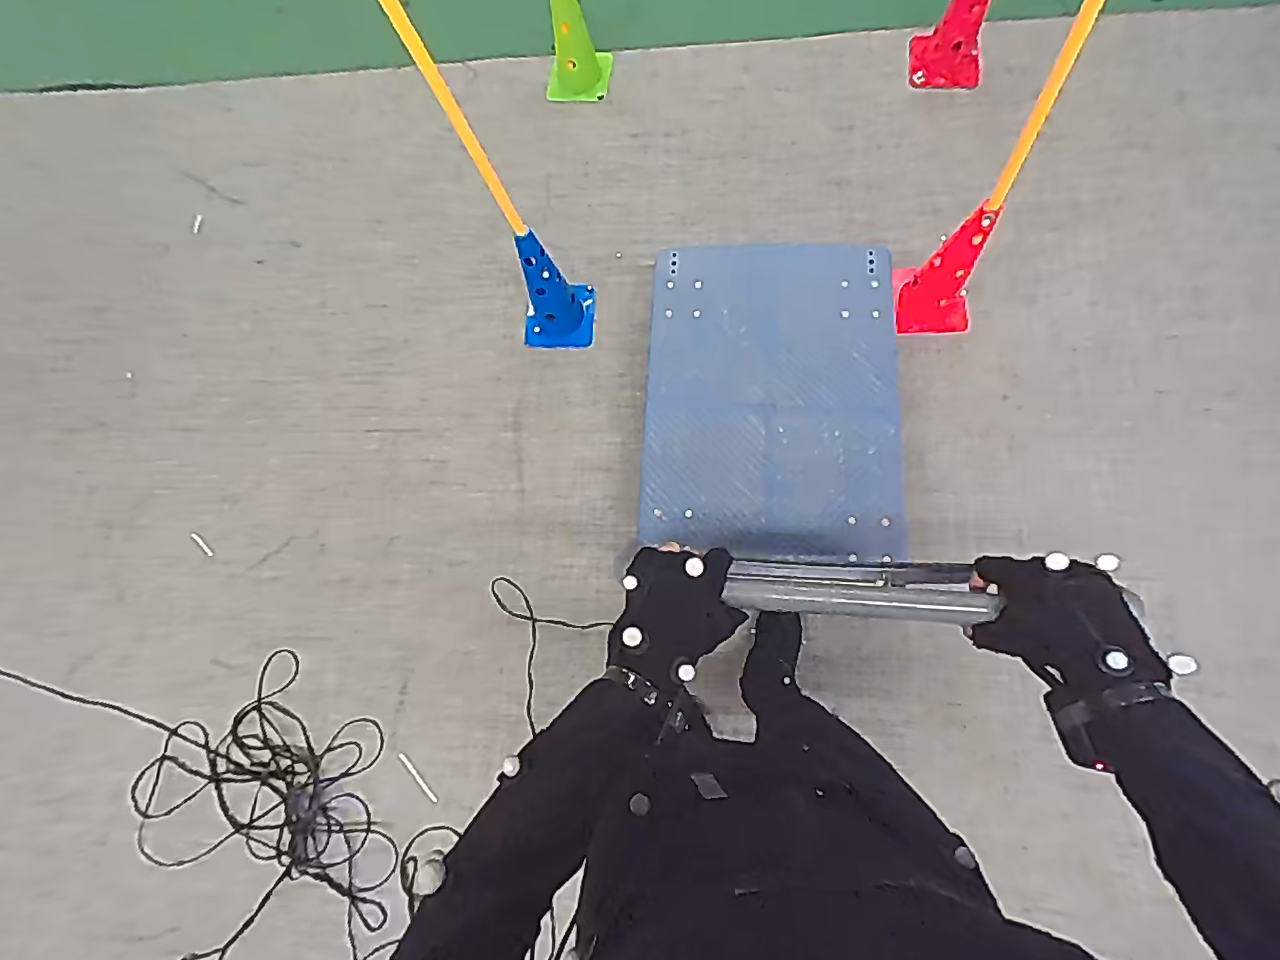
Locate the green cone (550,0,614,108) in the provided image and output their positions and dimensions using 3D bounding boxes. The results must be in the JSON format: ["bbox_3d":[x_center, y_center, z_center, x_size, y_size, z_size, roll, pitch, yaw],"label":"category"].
[{"bbox_3d":[-0.212,-1.360,1.628,0.202,0.368,0.200,5,76,8],"label":"green cone"}]

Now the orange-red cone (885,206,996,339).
[{"bbox_3d":[0.753,-0.518,1.309,0.199,0.360,0.198,0,75,8],"label":"orange-red cone"}]
